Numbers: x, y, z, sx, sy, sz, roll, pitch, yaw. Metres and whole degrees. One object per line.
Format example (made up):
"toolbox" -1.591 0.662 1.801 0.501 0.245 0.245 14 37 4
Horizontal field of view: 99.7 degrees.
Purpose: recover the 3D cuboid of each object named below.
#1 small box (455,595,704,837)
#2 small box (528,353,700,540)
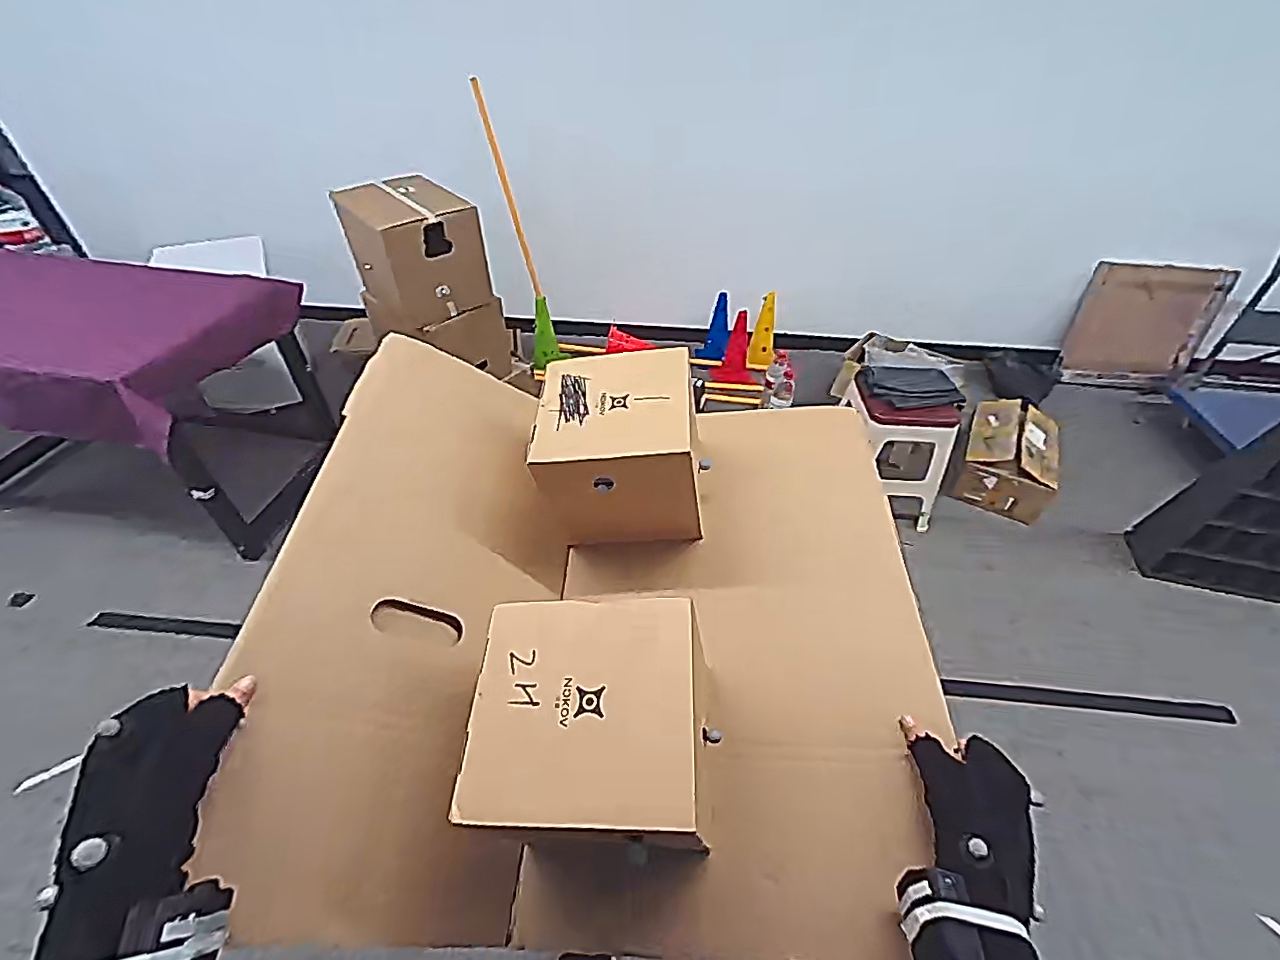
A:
"small box" -0.033 0.215 0.489 0.179 0.176 0.168 -4 52 10
"small box" -0.019 -0.036 0.682 0.179 0.176 0.168 -3 52 9
